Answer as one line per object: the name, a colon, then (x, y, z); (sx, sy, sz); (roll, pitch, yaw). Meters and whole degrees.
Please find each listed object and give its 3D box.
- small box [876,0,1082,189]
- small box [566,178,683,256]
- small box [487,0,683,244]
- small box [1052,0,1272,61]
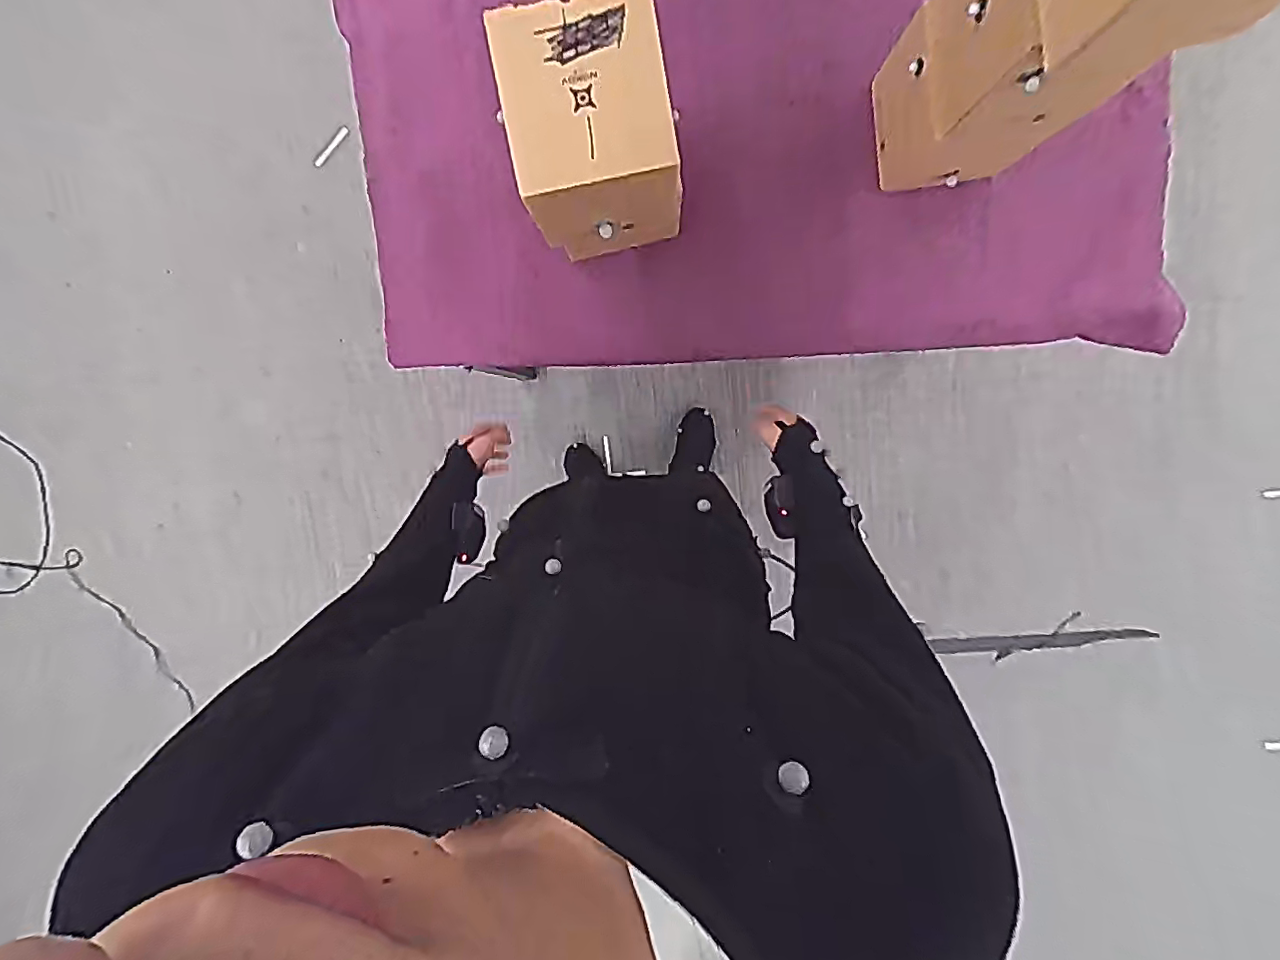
small box: (0.445, -0.521, 0.731); (0.179, 0.176, 0.168); (-8, 96, 2)
small box: (-0.043, -0.432, 0.756); (0.179, 0.176, 0.168); (-12, 96, 3)
small box: (-0.051, -0.387, 0.596); (0.168, 0.176, 0.179); (-10, 97, 3)
small box: (0.447, -0.463, 0.407); (0.179, 0.176, 0.168); (-11, 96, 3)
